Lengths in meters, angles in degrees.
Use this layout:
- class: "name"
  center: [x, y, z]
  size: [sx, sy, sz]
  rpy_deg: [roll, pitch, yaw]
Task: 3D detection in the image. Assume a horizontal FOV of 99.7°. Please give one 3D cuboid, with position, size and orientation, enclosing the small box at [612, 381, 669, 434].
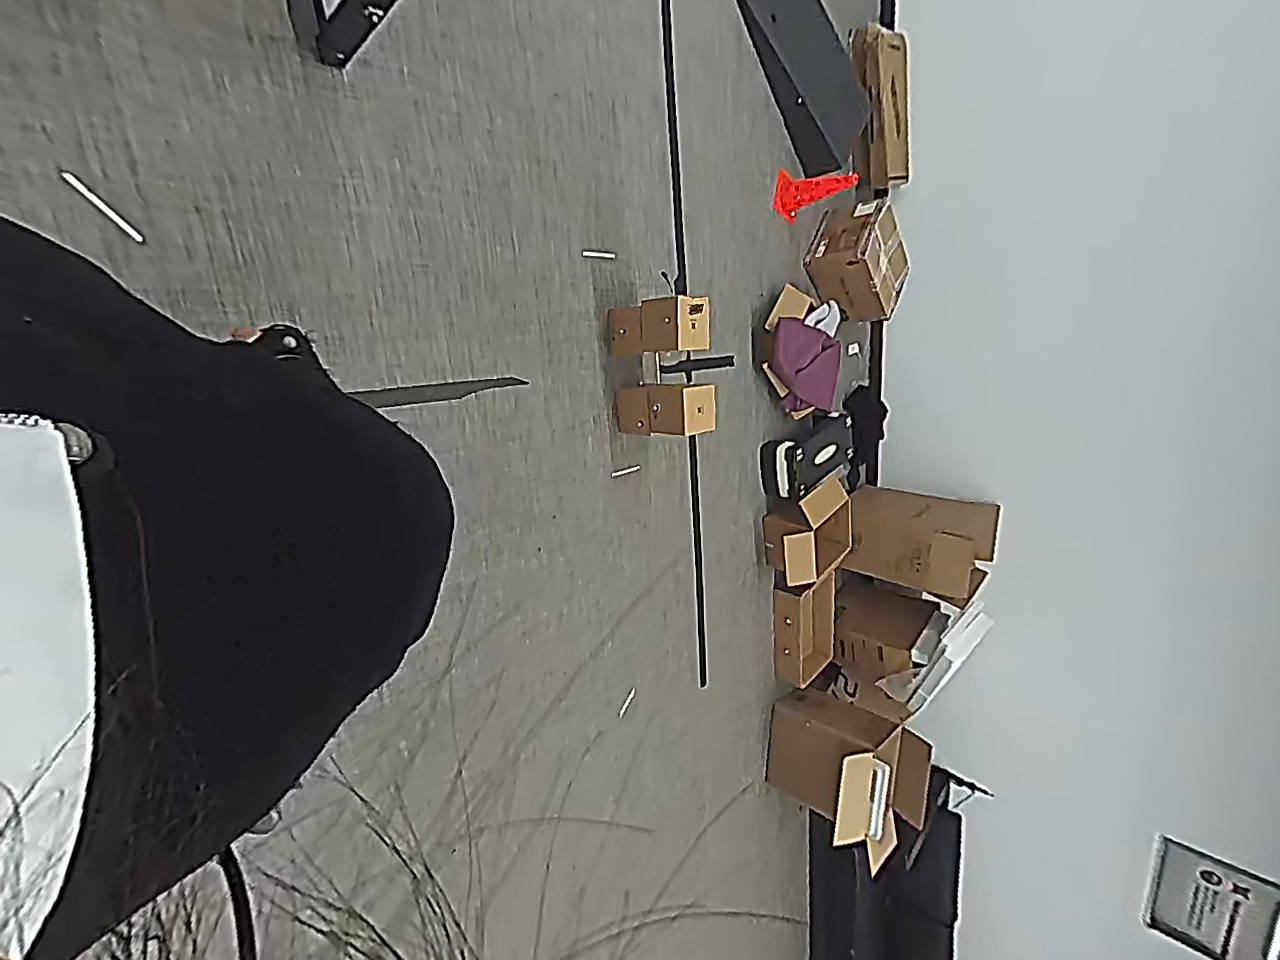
- class: "small box"
  center: [0.011, -0.282, 2.067]
  size: [0.168, 0.176, 0.179]
  rpy_deg: [-20, 112, -42]

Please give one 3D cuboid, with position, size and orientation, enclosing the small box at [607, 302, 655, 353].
- class: "small box"
  center: [-0.011, -0.557, 1.988]
  size: [0.179, 0.176, 0.168]
  rpy_deg: [-15, 108, -43]

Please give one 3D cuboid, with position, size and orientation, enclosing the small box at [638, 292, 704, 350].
- class: "small box"
  center: [0.105, -0.544, 1.869]
  size: [0.168, 0.176, 0.179]
  rpy_deg: [-15, 108, -44]

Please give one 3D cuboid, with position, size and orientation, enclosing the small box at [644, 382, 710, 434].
- class: "small box"
  center: [0.135, -0.267, 1.962]
  size: [0.179, 0.176, 0.168]
  rpy_deg: [-17, 109, -42]
